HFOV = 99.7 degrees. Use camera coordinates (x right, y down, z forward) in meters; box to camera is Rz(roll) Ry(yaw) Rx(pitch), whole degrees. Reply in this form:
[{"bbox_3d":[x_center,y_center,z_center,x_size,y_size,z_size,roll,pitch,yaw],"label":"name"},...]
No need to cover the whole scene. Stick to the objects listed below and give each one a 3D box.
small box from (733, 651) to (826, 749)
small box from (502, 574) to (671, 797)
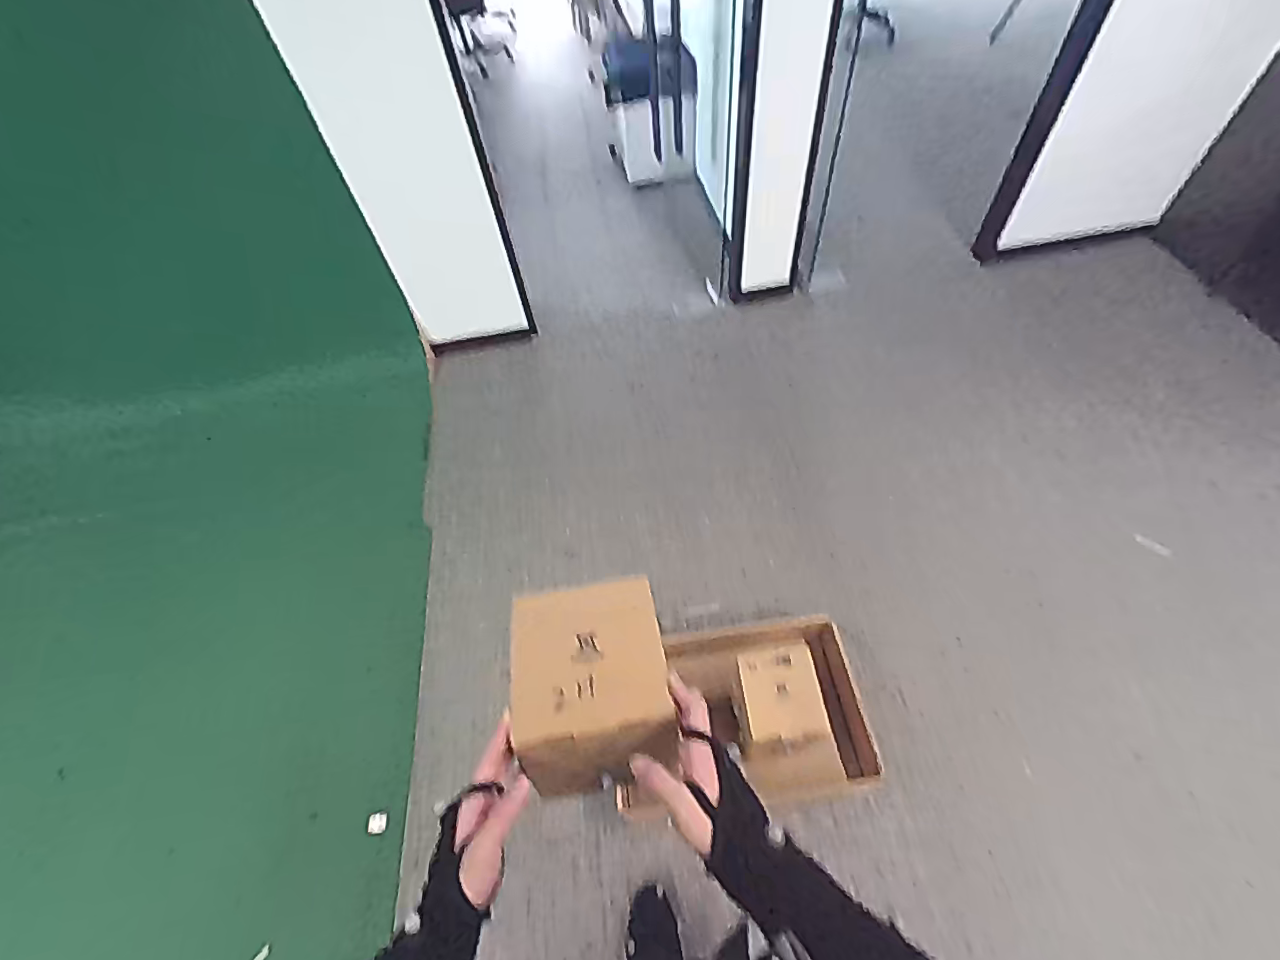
[{"bbox_3d":[0.307,0.505,1.227,0.168,0.176,0.179,-7,56,2],"label":"small box"},{"bbox_3d":[-0.059,0.239,0.637,0.168,0.176,0.179,-9,43,-4],"label":"small box"}]
